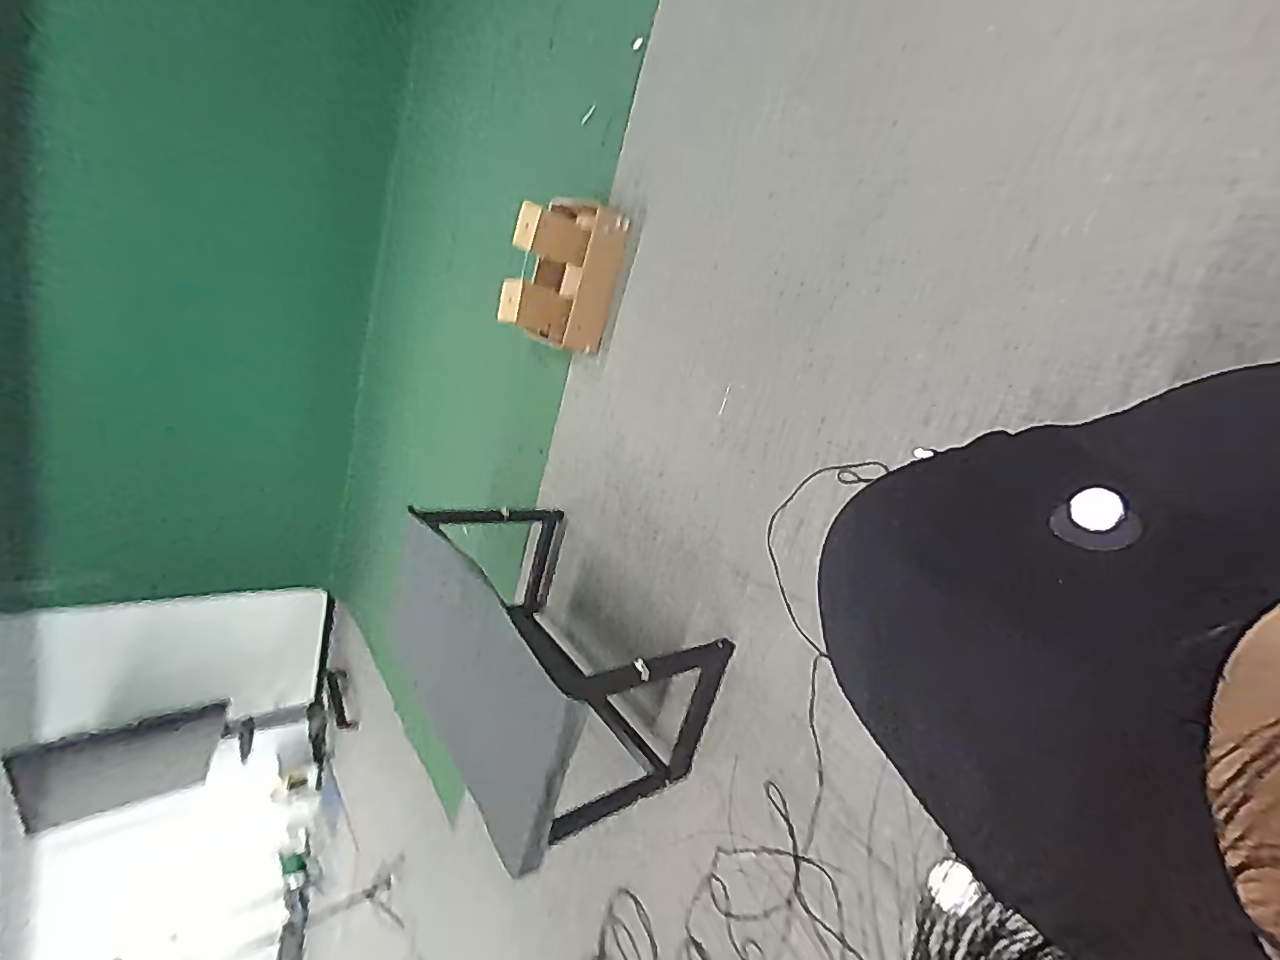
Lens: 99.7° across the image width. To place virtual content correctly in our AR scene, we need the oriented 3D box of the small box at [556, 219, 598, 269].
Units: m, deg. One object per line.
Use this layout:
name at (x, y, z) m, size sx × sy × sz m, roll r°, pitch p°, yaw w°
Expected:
small box at (-0.321, -1.062, 2.414) m, size 0.179 × 0.176 × 0.168 m, roll 39°, pitch 116°, yaw 38°

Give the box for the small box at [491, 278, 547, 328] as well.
small box at (-0.528, -0.777, 2.376) m, size 0.168 × 0.176 × 0.179 m, roll 19°, pitch 100°, yaw 43°

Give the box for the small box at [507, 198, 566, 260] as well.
small box at (-0.435, -1.064, 2.296) m, size 0.168 × 0.176 × 0.179 m, roll 40°, pitch 117°, yaw 39°
